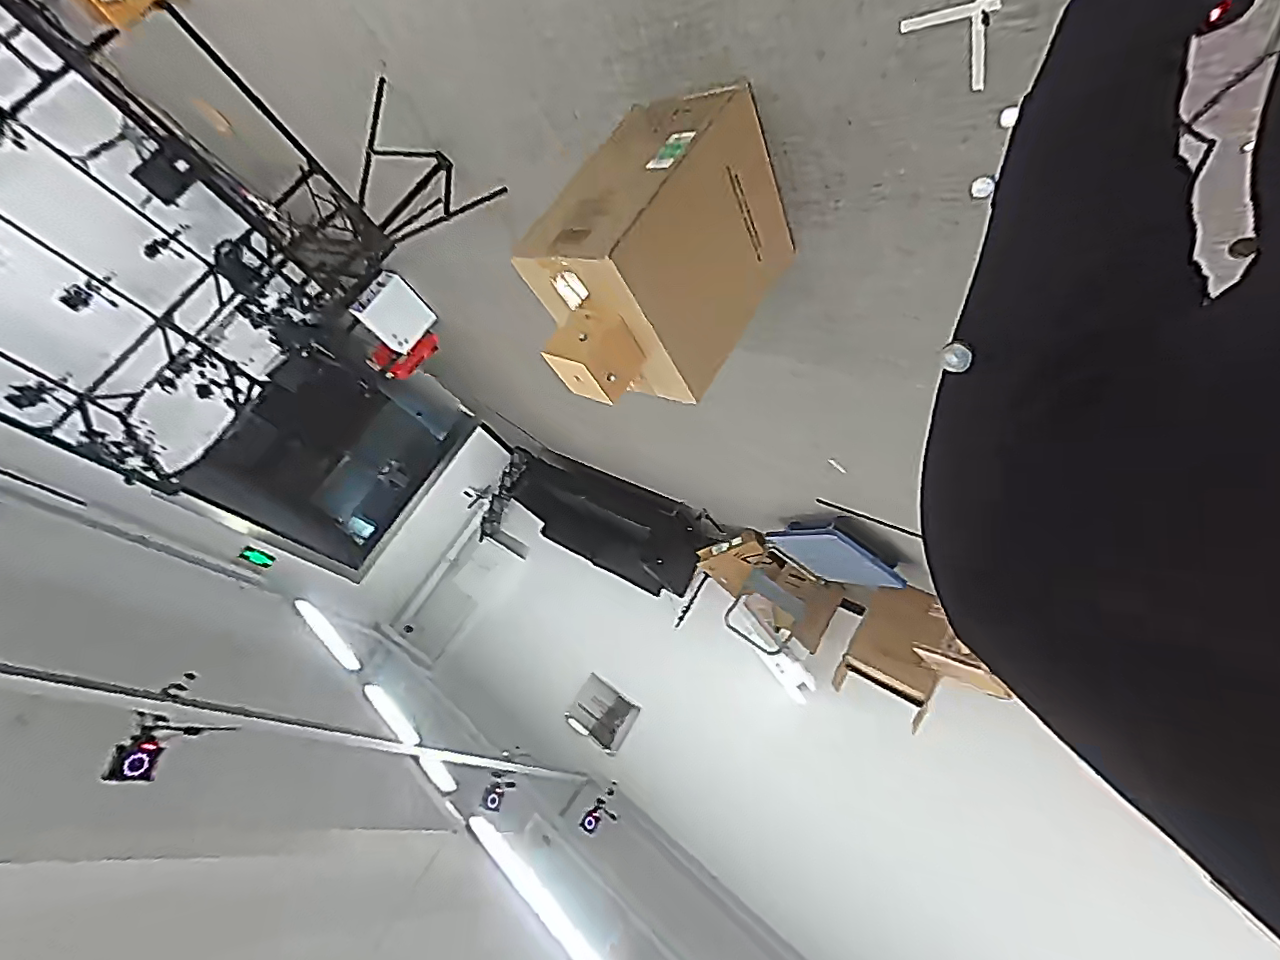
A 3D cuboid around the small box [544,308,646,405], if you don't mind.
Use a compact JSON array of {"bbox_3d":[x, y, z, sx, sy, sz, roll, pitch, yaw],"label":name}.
[{"bbox_3d":[-0.115,-0.332,1.441,0.168,0.176,0.179,22,163,35],"label":"small box"}]
